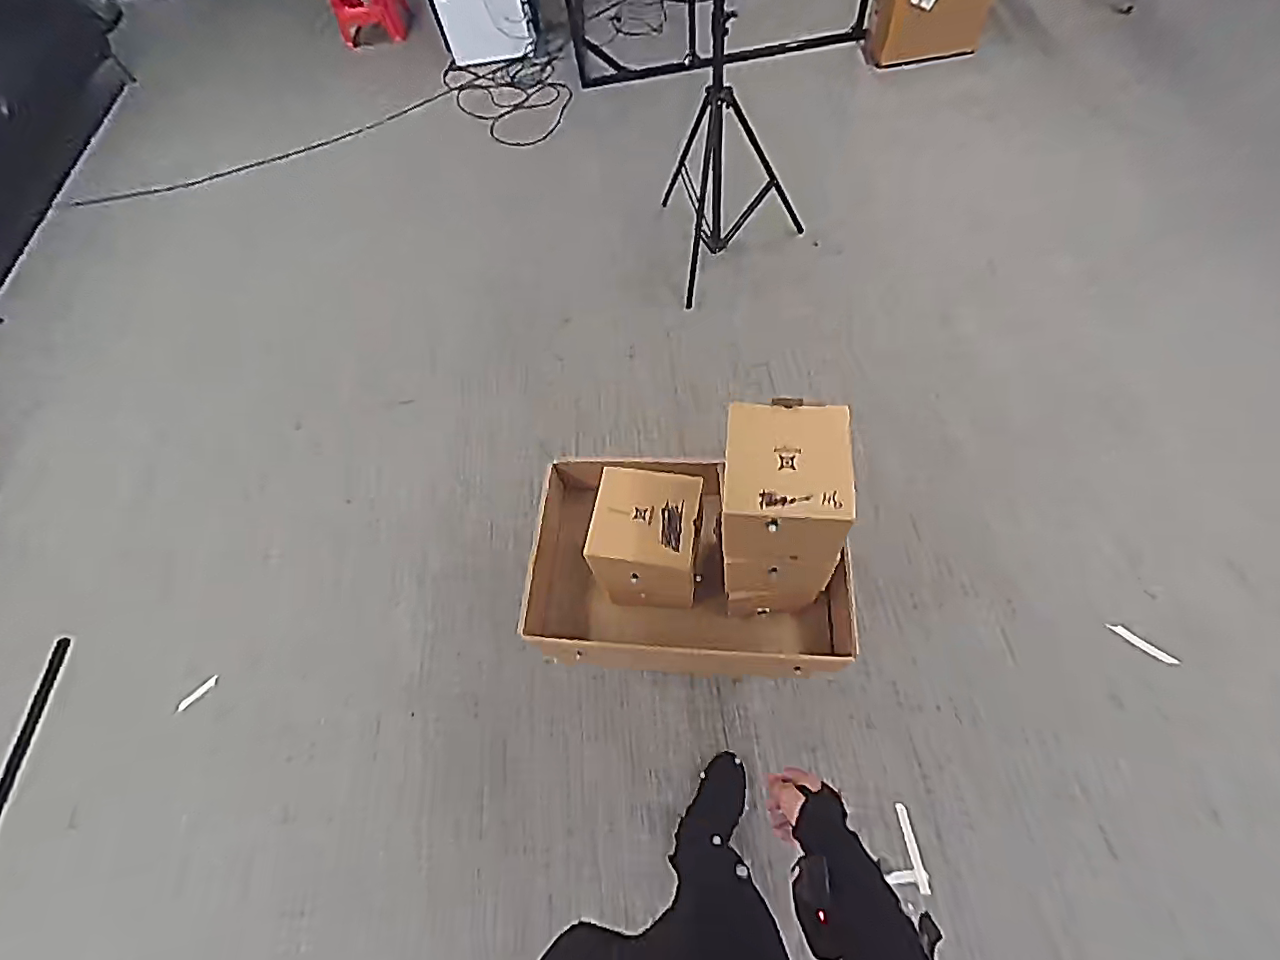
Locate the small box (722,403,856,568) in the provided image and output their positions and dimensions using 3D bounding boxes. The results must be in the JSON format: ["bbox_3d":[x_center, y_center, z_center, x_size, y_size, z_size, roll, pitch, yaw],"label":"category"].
[{"bbox_3d":[0.205,0.010,0.776,0.168,0.176,0.179,2,62,11],"label":"small box"}]

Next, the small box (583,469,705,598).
[{"bbox_3d":[0.016,0.099,0.946,0.179,0.176,0.168,7,63,10],"label":"small box"}]

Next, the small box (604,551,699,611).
[{"bbox_3d":[0.030,0.162,1.098,0.179,0.176,0.168,3,63,7],"label":"small box"}]
